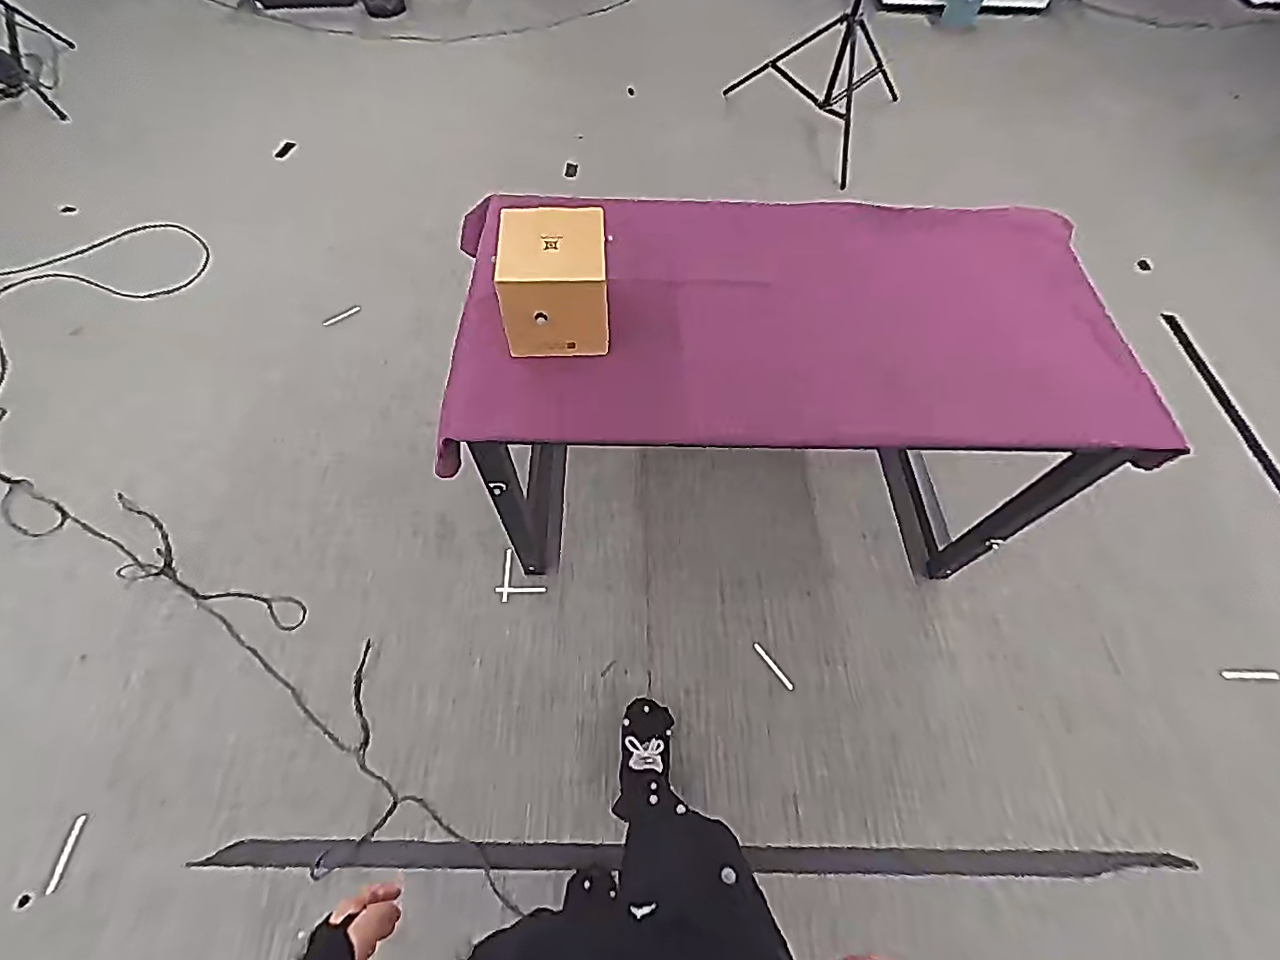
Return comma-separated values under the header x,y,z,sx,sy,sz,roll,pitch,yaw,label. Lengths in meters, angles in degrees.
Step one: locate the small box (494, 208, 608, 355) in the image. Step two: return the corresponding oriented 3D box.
x,y,z,sx,sy,sz,roll,pitch,yaw,label
-0.141,-0.326,0.909,0.168,0.176,0.179,-2,60,-3,small box
